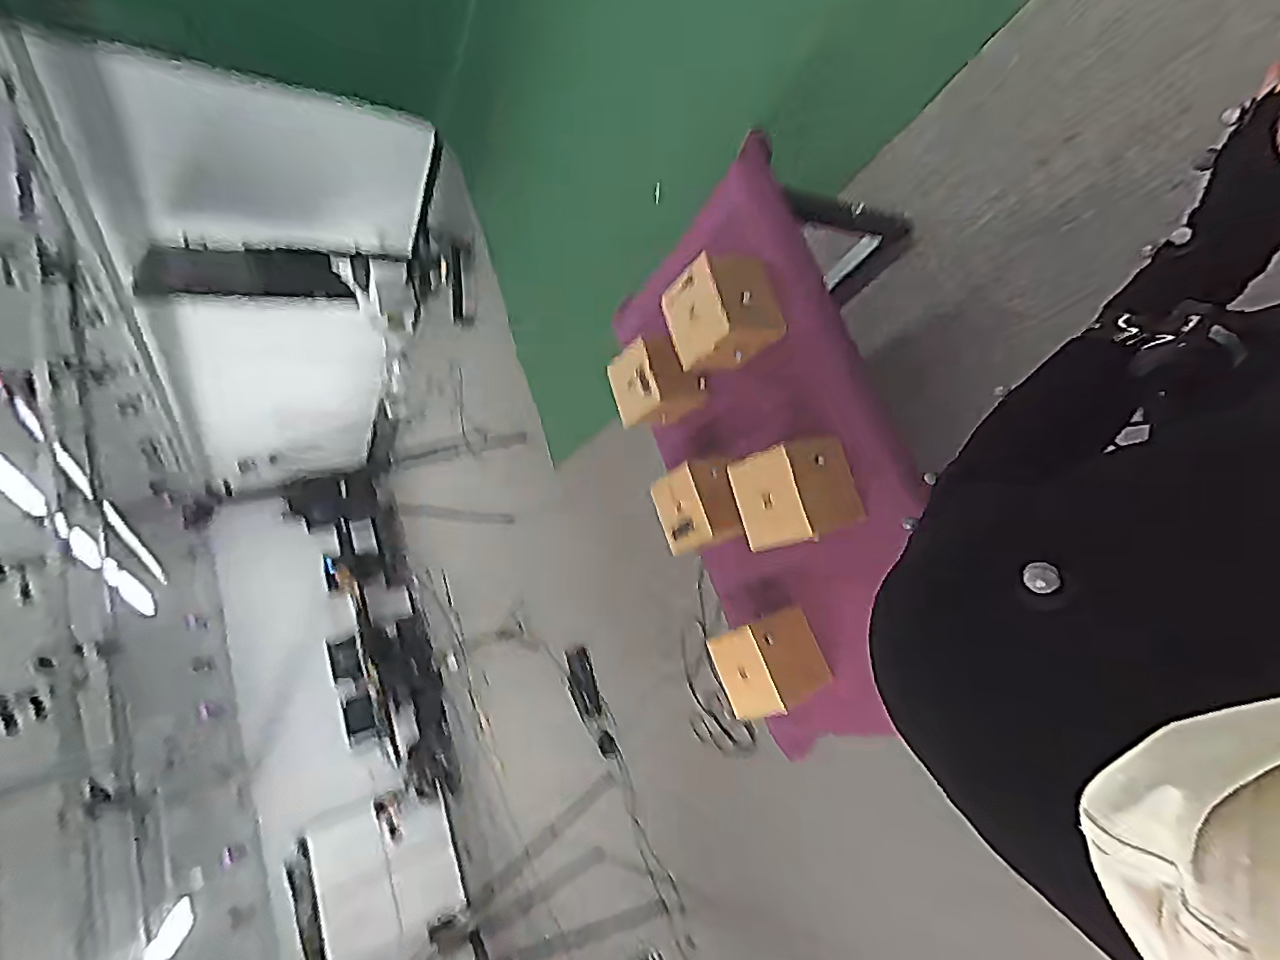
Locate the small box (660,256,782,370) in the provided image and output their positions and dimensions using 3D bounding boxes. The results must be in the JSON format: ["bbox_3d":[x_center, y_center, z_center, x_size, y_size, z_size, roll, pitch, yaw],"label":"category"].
[{"bbox_3d":[0.175,-0.355,1.161,0.168,0.176,0.179,-31,74,54],"label":"small box"}]

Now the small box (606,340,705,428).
[{"bbox_3d":[0.045,-0.246,1.373,0.179,0.176,0.168,-30,74,54],"label":"small box"}]

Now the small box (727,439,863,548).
[{"bbox_3d":[0.308,0.023,1.078,0.168,0.176,0.179,-26,78,55],"label":"small box"}]

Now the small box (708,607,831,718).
[{"bbox_3d":[0.289,0.404,1.205,0.168,0.176,0.179,-44,62,50],"label":"small box"}]
